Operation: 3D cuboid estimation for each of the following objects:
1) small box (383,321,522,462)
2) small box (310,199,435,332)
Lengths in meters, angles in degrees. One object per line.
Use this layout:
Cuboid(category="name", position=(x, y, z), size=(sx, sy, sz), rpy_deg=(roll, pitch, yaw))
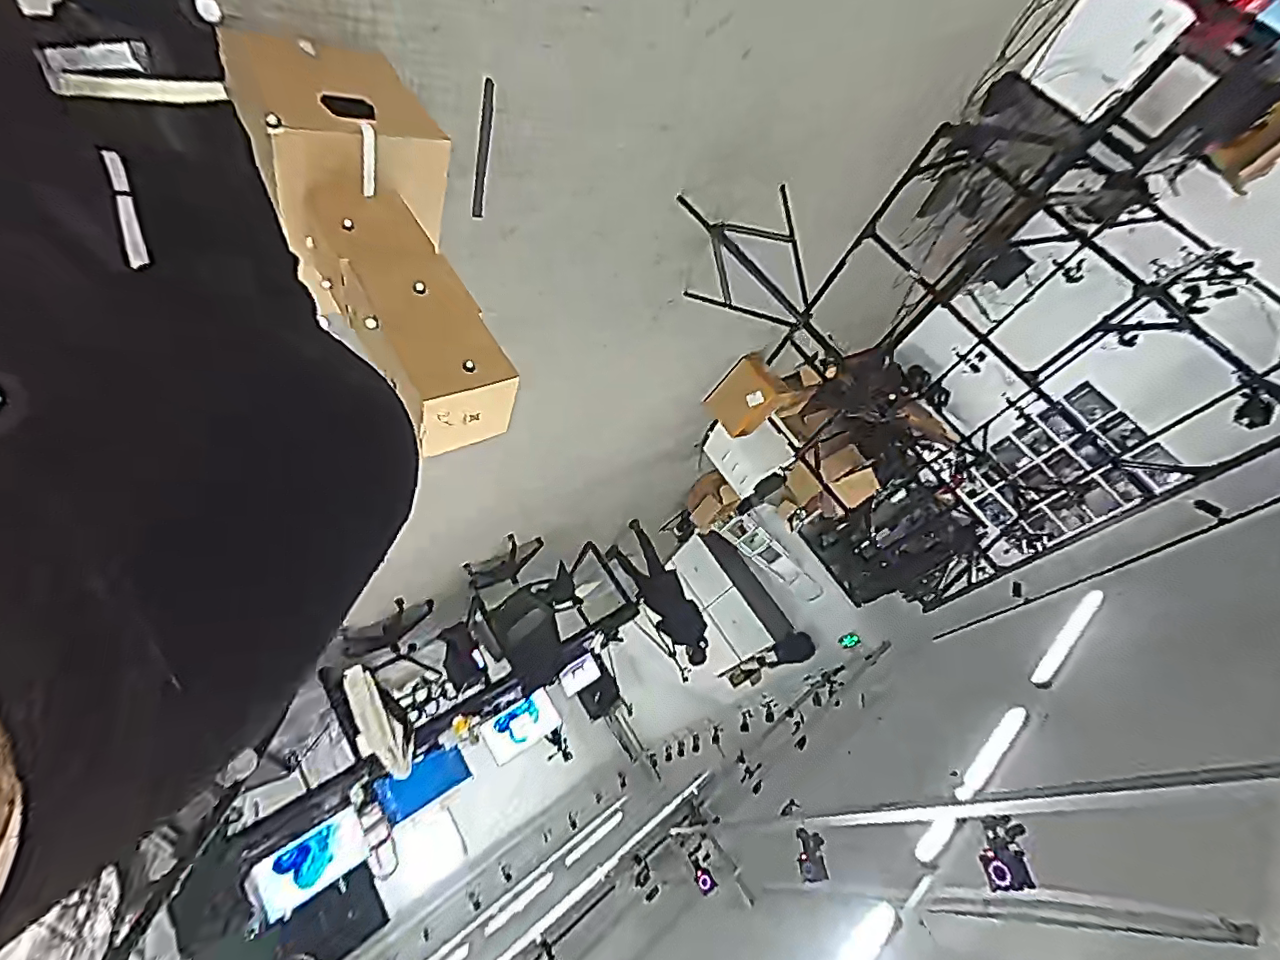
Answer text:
Cuboid(category="small box", position=(-0.344, -0.167, 0.983), size=(0.179, 0.176, 0.168), rpy_deg=(-24, 159, -34))
Cuboid(category="small box", position=(-0.526, -0.427, 1.070), size=(0.179, 0.176, 0.168), rpy_deg=(-26, 161, -32))
